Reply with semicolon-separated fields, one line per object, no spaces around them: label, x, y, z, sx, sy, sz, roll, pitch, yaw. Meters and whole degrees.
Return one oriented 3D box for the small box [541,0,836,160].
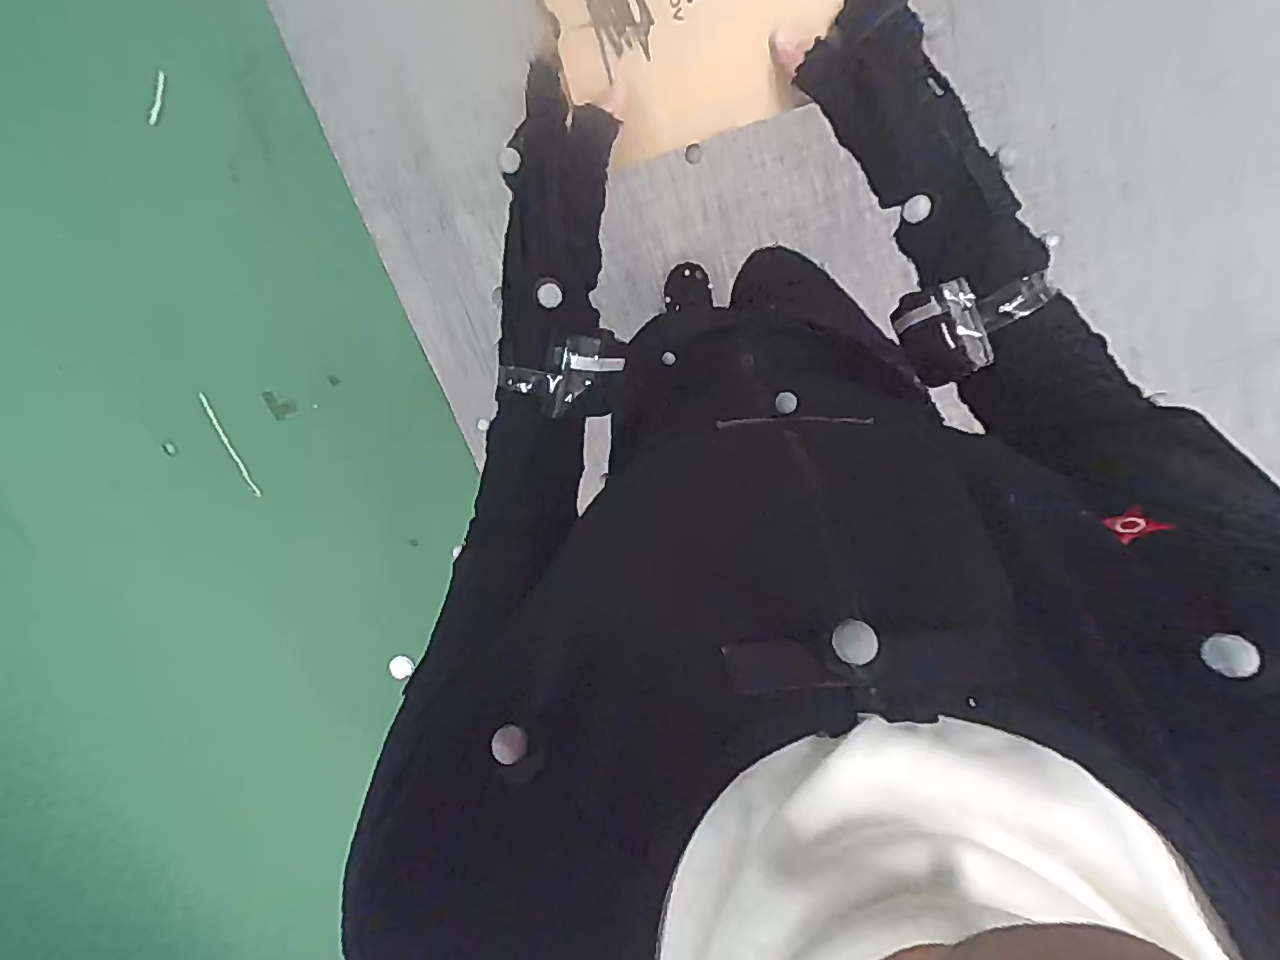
small box;0.023;-0.350;0.395;0.179;0.176;0.168;-15;122;7
